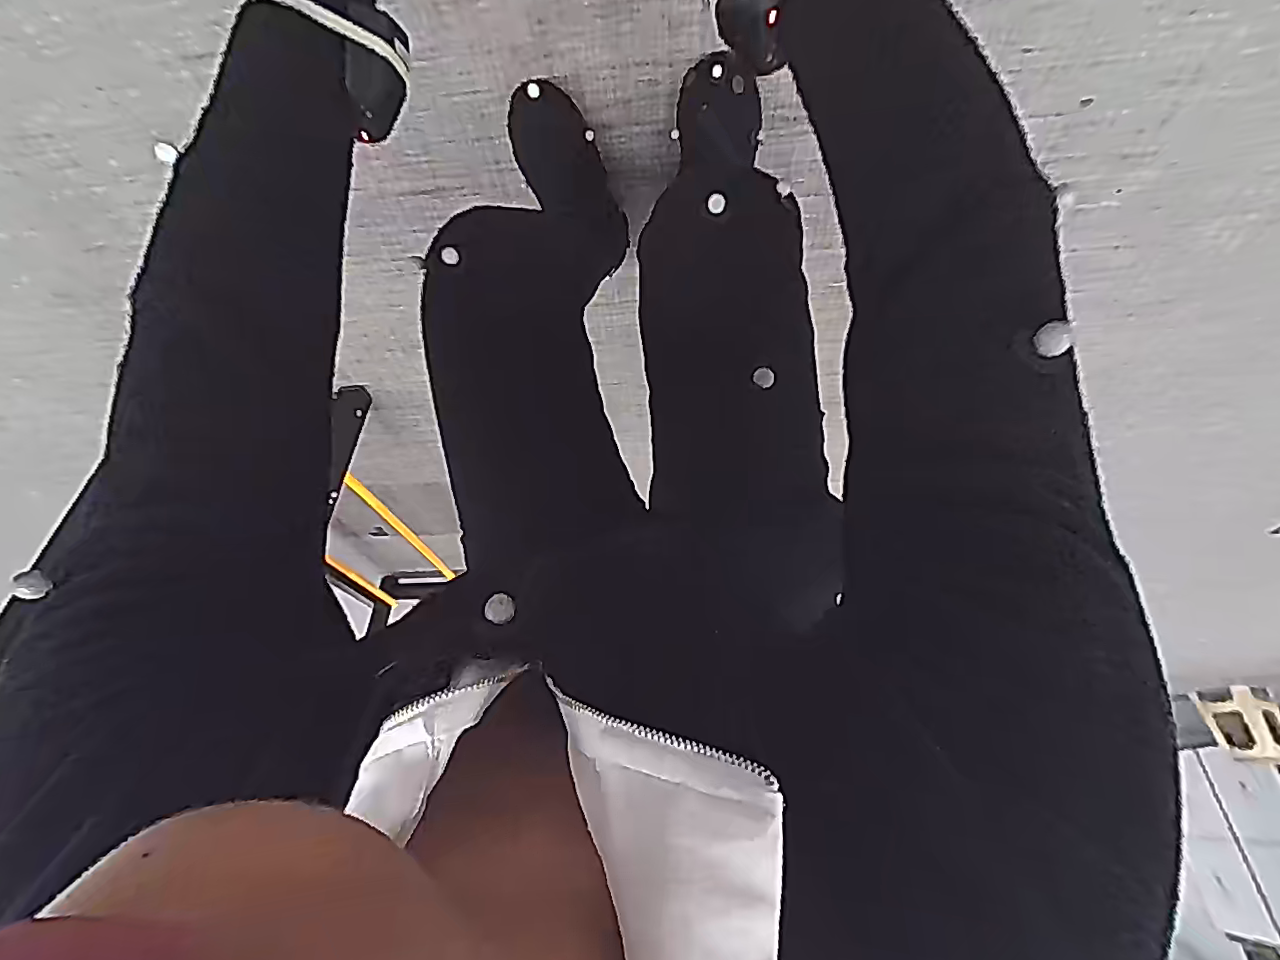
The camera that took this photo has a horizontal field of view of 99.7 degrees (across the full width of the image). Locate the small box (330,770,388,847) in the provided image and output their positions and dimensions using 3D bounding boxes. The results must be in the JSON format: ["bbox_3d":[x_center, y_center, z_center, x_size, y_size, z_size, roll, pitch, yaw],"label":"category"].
[{"bbox_3d":[-0.793,0.866,1.433,0.179,0.176,0.168,-2,148,5],"label":"small box"}]

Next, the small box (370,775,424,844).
[{"bbox_3d":[-0.771,0.980,1.614,0.168,0.176,0.179,-3,147,7],"label":"small box"}]
